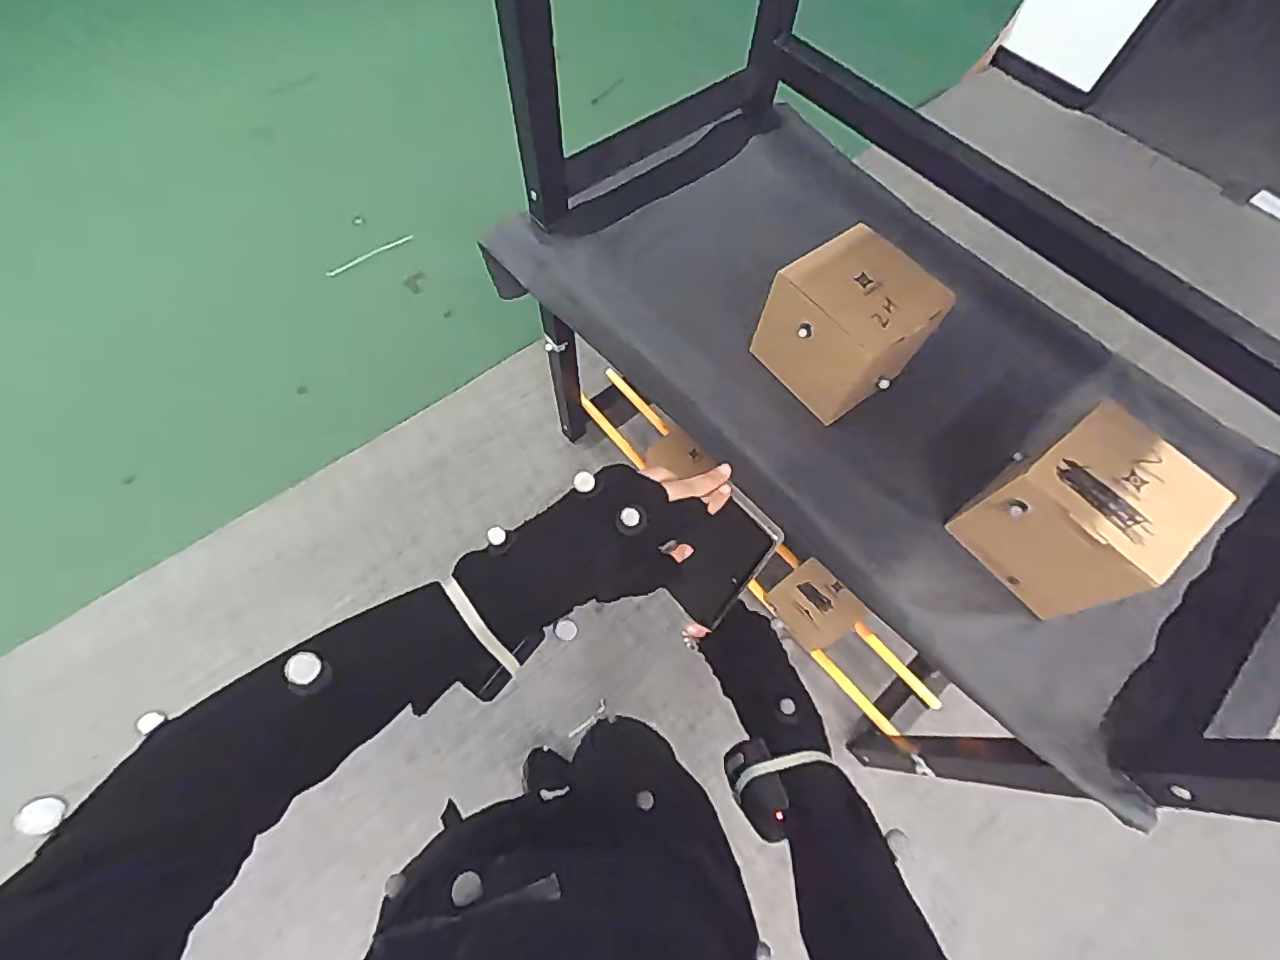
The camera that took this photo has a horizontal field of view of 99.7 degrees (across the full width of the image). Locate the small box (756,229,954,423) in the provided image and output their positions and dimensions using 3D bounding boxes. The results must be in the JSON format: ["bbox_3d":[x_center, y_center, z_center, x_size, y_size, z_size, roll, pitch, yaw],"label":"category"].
[{"bbox_3d":[0.295,-0.217,0.786,0.168,0.176,0.179,-34,71,-17],"label":"small box"}]

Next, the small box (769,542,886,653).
[{"bbox_3d":[0.419,0.278,1.247,0.179,0.176,0.168,-34,71,-17],"label":"small box"}]
